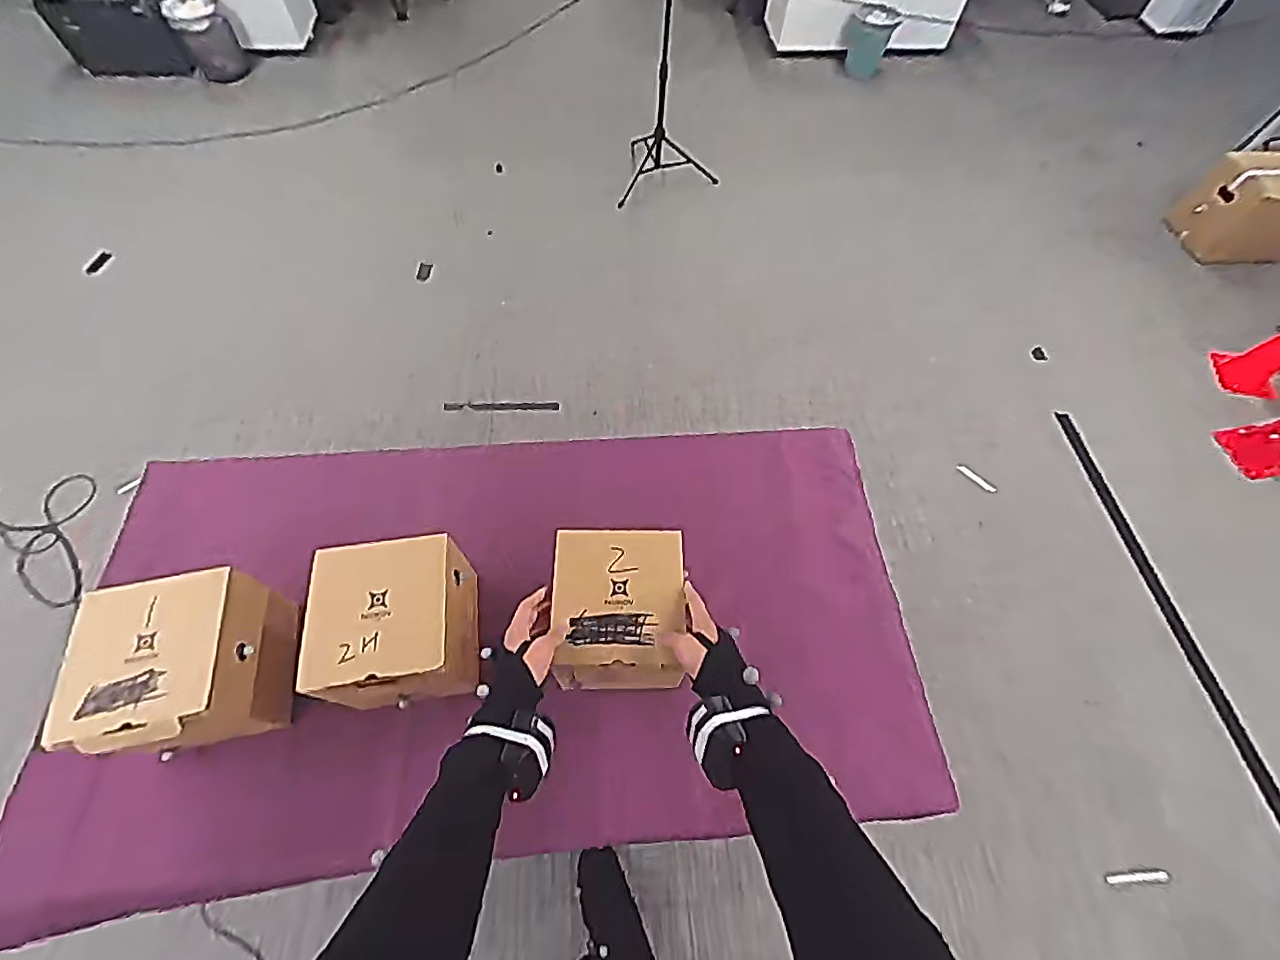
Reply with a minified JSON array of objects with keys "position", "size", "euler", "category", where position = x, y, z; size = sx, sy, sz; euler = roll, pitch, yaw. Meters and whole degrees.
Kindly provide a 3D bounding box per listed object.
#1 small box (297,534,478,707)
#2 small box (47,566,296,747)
[{"position":[-0.320,0.192,0.725],"size":[0.168,0.176,0.179],"euler":[-7,62,-5],"category":"small box"},{"position":[-0.572,0.233,0.693],"size":[0.168,0.176,0.179],"euler":[-10,61,-8],"category":"small box"}]
